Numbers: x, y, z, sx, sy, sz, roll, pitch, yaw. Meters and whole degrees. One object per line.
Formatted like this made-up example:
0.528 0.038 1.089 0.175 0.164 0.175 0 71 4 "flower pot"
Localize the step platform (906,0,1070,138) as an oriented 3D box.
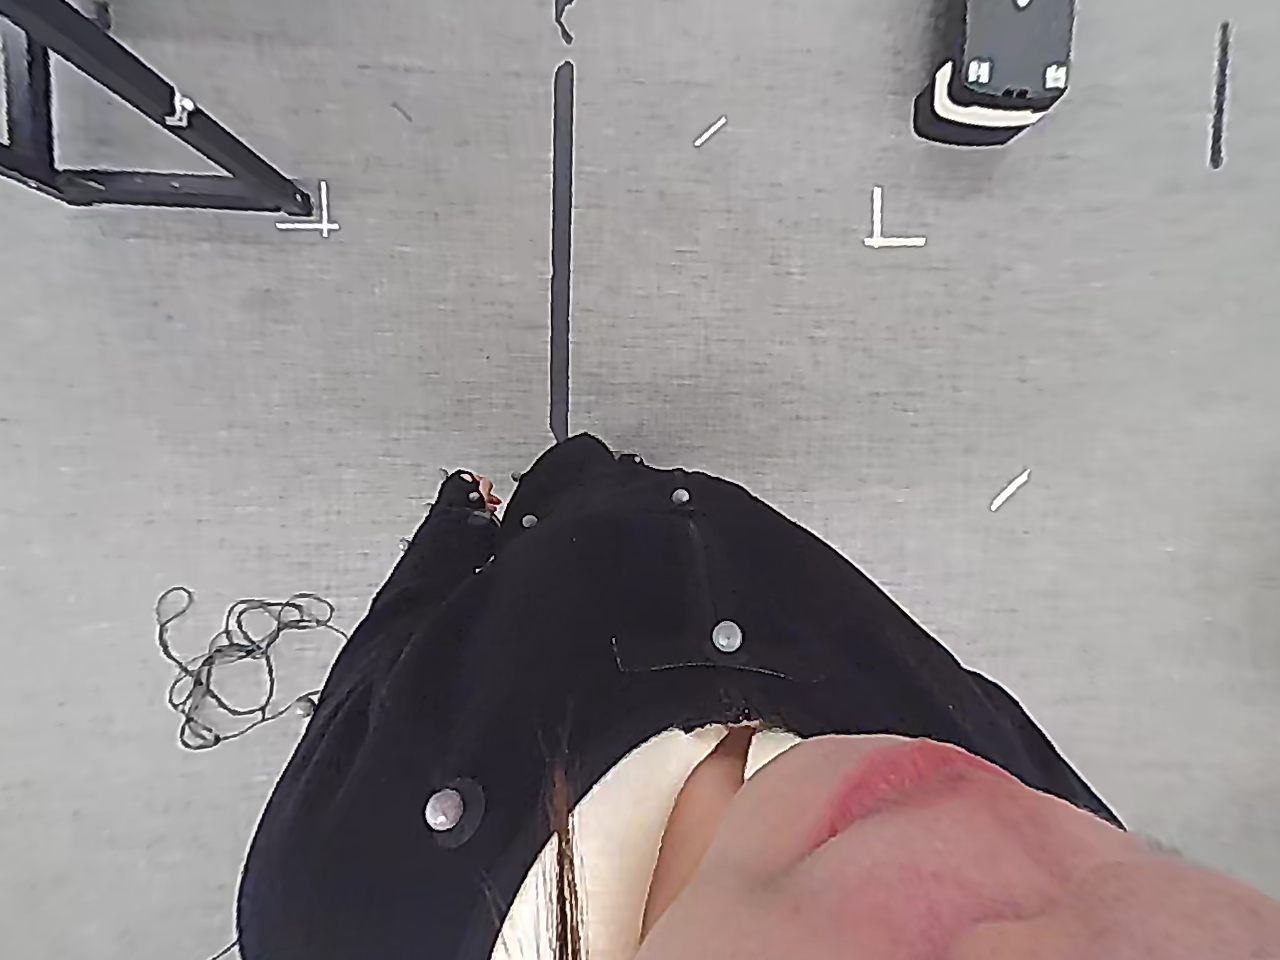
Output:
0.897 -1.269 1.353 0.286 0.204 0.684 6 93 -4 "step platform"
